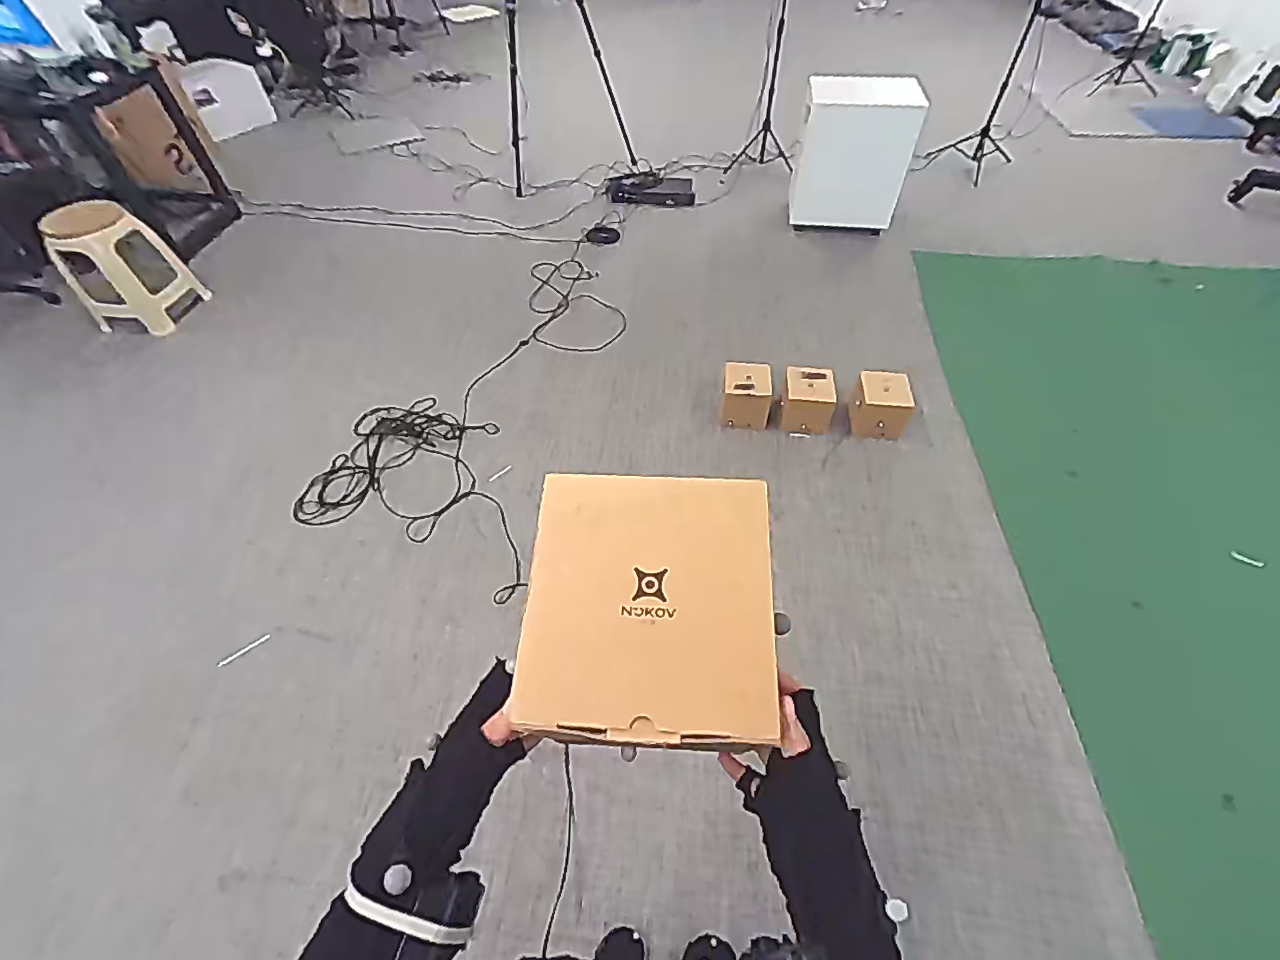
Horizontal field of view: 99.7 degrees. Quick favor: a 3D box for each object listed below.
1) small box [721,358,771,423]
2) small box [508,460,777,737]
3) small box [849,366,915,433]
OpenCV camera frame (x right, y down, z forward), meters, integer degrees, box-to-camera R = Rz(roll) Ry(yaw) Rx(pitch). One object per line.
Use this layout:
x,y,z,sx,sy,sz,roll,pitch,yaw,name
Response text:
0.393,-0.328,2.004,0.168,0.176,0.179,4,51,5,small box
0.007,0.101,0.432,0.168,0.176,0.179,1,63,3,small box
0.870,-0.289,1.960,0.168,0.176,0.179,5,52,5,small box
